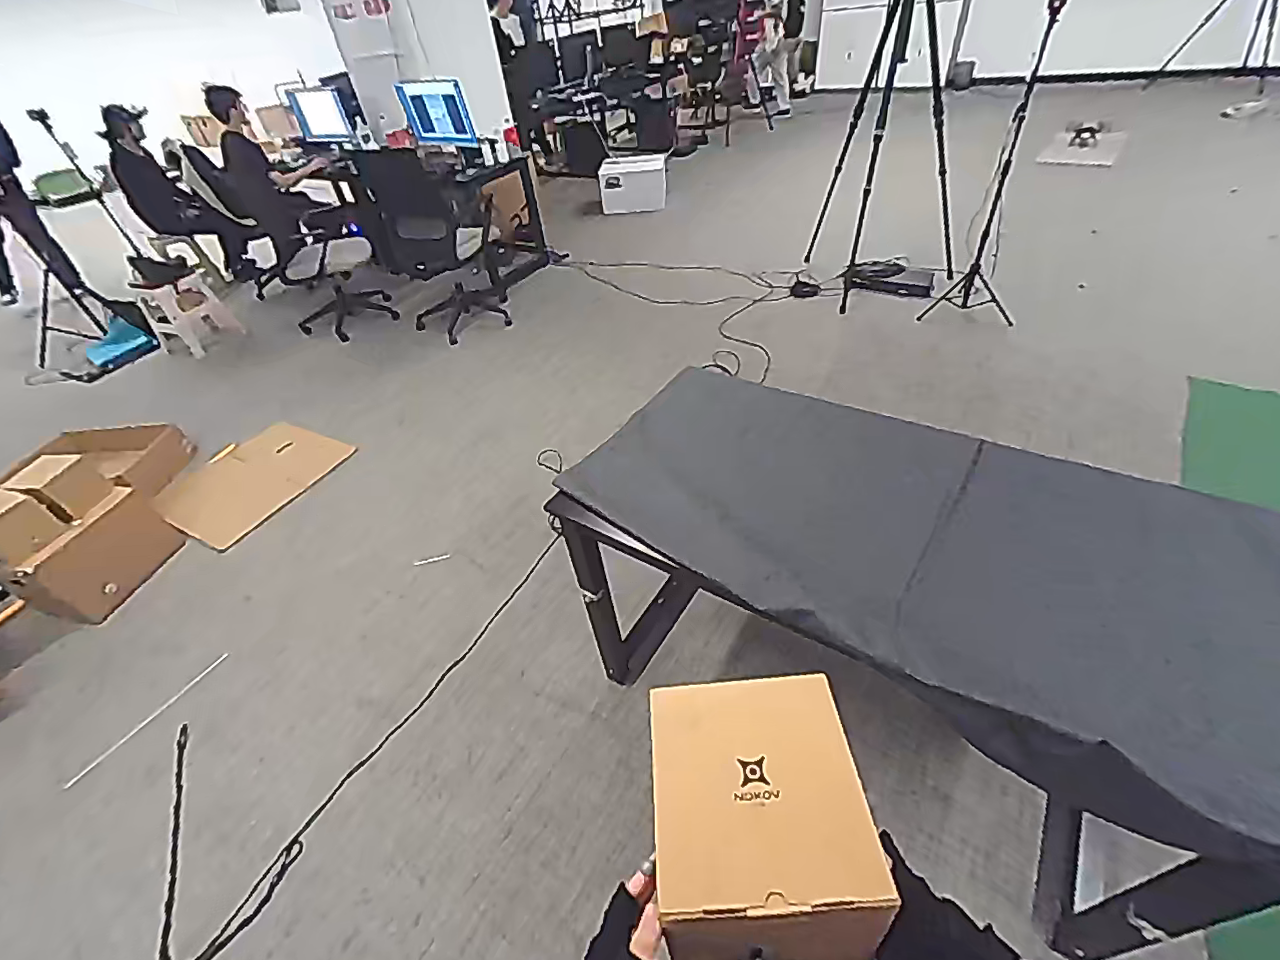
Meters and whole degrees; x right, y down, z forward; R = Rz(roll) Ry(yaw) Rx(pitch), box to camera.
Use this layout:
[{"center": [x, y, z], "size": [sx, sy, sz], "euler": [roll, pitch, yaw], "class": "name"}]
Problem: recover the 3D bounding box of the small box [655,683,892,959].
[{"center": [0.102, 0.314, 0.495], "size": [0.168, 0.176, 0.179], "euler": [-6, 38, 3], "class": "small box"}]
